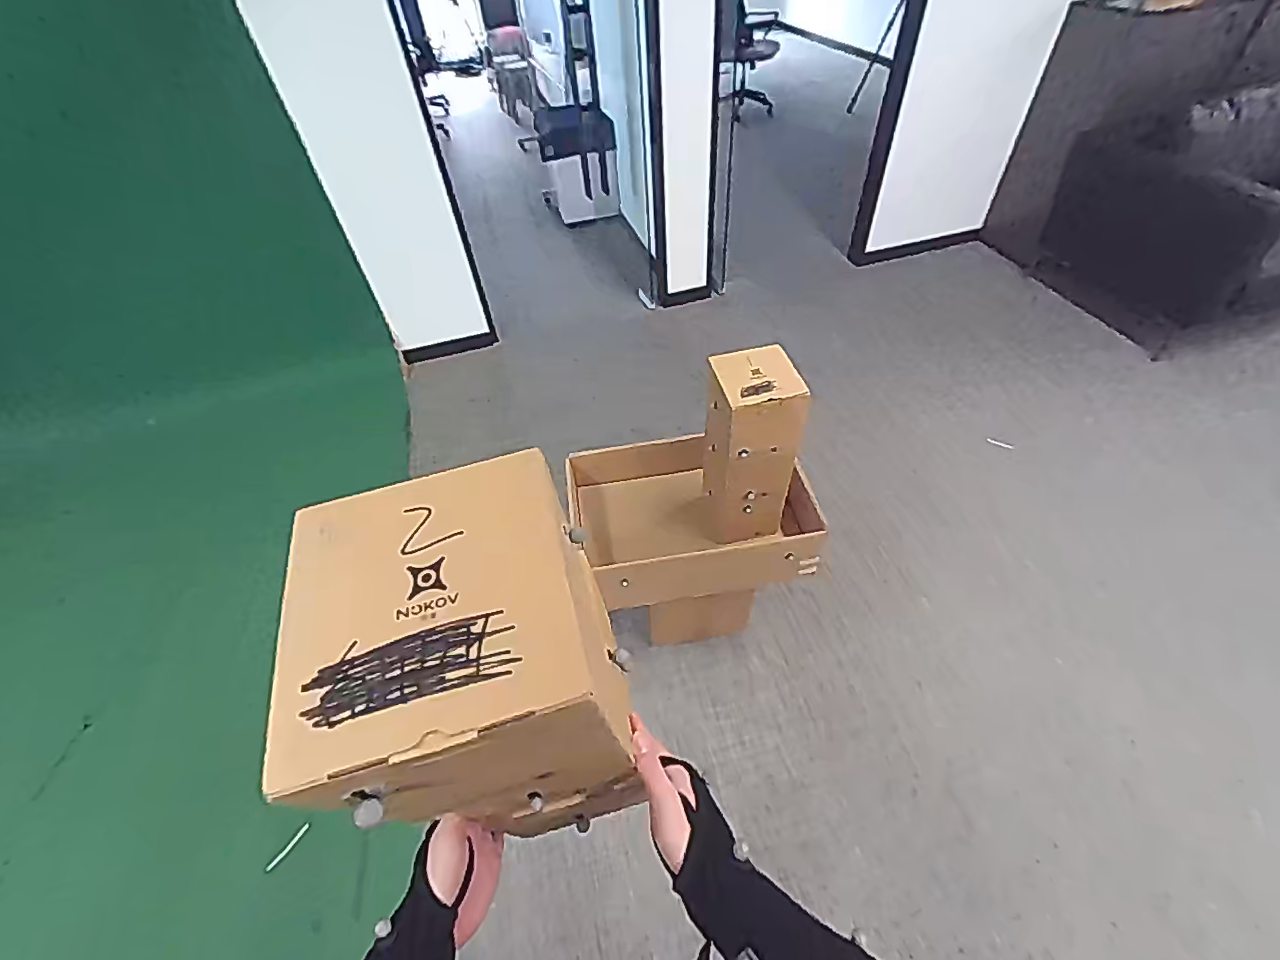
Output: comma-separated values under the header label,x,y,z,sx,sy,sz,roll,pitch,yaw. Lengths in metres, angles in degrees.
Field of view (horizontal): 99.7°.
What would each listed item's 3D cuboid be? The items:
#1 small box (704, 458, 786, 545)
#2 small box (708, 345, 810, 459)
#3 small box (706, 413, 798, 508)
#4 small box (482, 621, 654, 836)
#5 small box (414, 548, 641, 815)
label,x,y,z,sx,sy,sz,roll,pitch,yaw
small box,0.268,0.045,1.427,0.168,0.176,0.179,-11,48,-4
small box,0.250,-0.163,1.175,0.168,0.176,0.179,-11,48,-4
small box,0.258,-0.058,1.301,0.168,0.176,0.179,-10,50,-4
small box,-0.085,0.295,0.640,0.168,0.176,0.179,-14,53,-4
small box,-0.099,0.194,0.514,0.168,0.176,0.179,-13,54,-5
